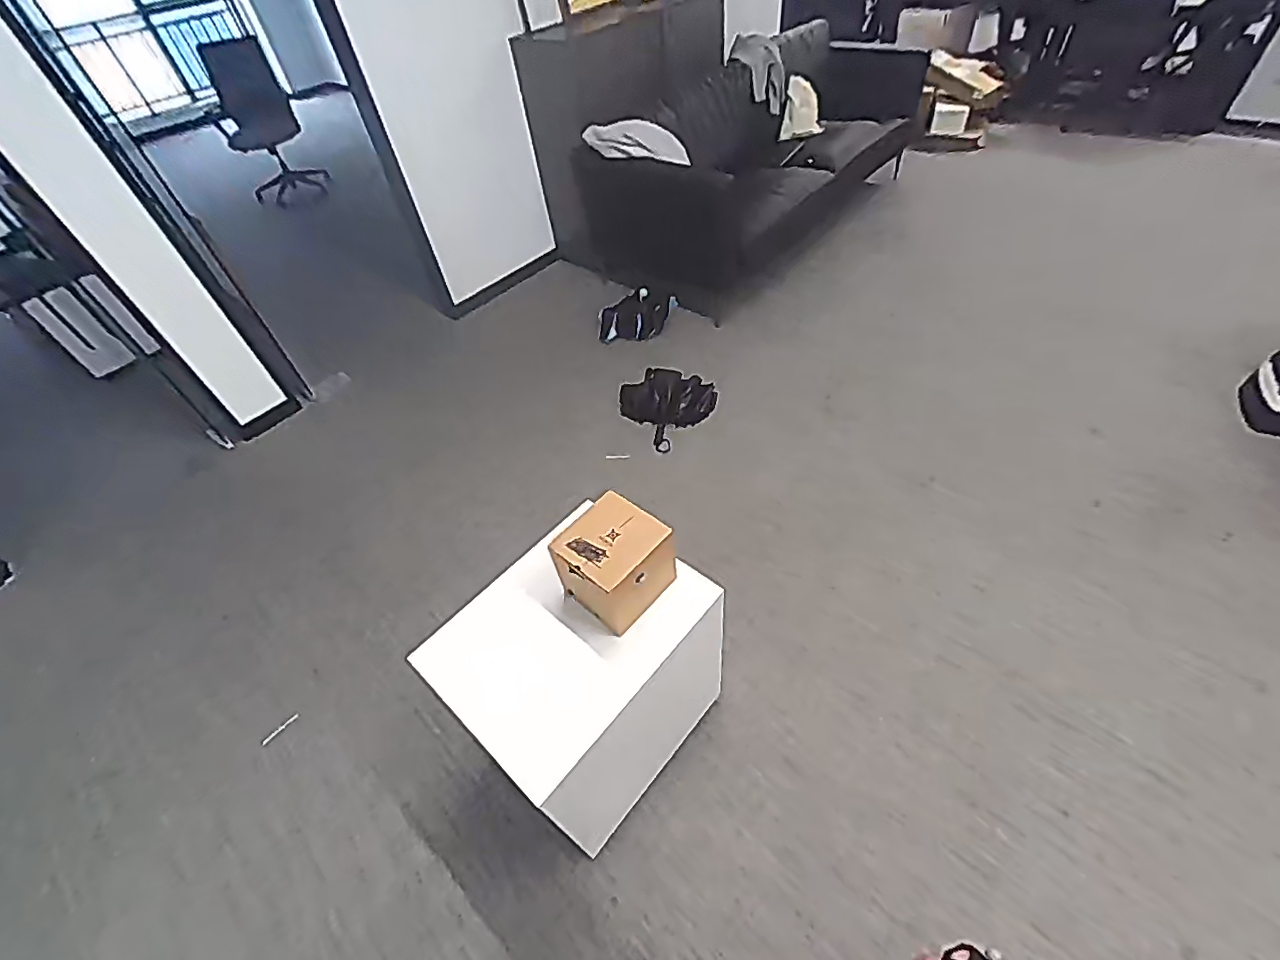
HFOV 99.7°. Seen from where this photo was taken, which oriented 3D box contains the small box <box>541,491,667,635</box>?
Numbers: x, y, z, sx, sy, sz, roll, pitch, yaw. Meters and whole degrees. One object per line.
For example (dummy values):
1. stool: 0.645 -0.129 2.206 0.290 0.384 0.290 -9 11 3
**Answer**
1. small box: -0.060 0.161 1.036 0.168 0.176 0.179 32 56 29
